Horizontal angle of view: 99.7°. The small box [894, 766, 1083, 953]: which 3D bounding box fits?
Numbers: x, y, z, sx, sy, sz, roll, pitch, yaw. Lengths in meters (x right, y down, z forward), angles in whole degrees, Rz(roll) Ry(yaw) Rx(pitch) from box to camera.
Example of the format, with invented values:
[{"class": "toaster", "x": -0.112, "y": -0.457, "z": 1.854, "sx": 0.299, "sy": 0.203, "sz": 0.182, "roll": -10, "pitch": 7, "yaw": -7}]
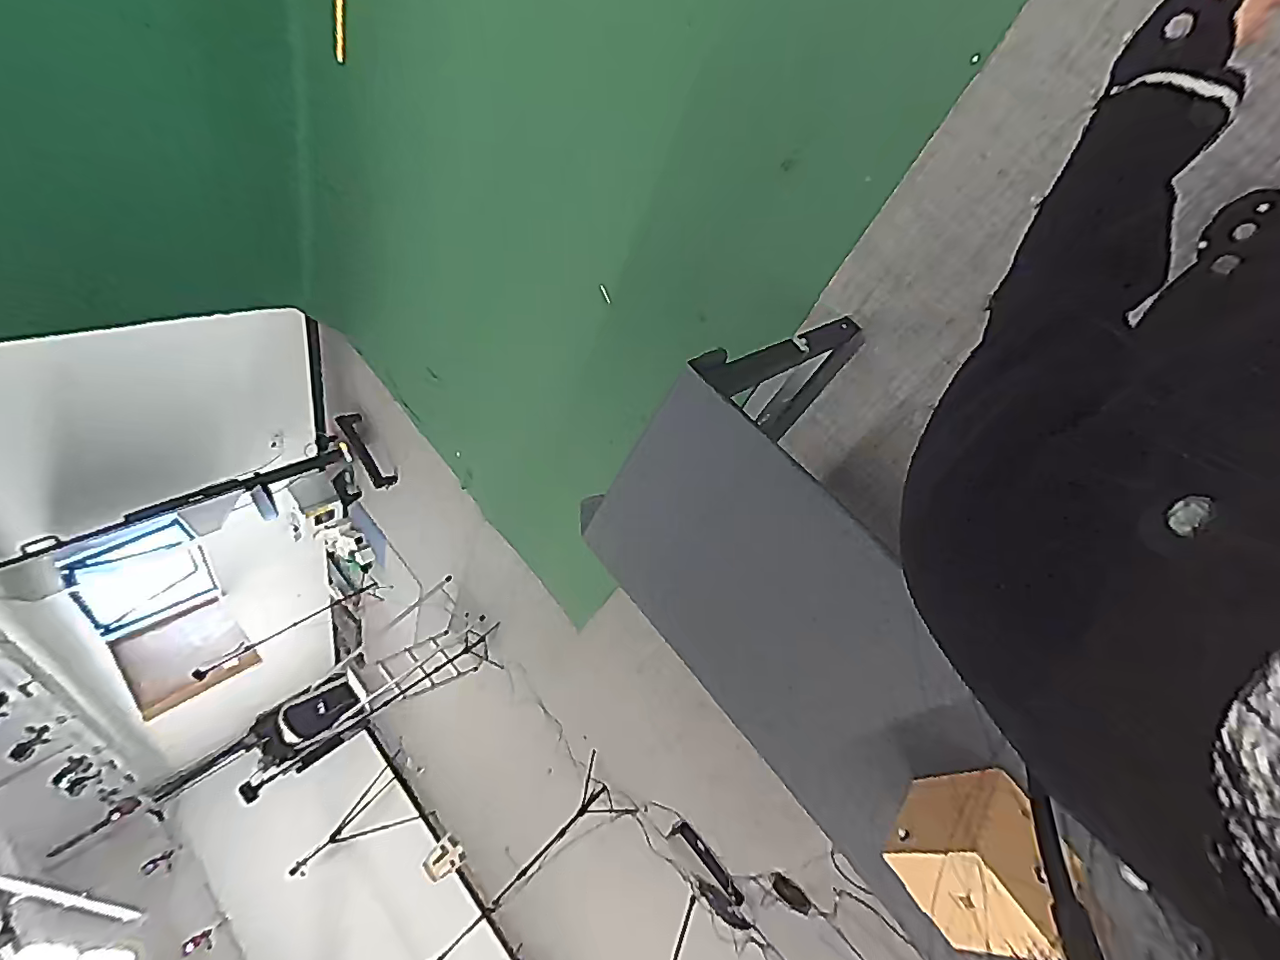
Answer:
[{"class": "small box", "x": 0.543, "y": 0.575, "z": 0.840, "sx": 0.168, "sy": 0.176, "sz": 0.179, "roll": 51, "pitch": 139, "yaw": 12}]
